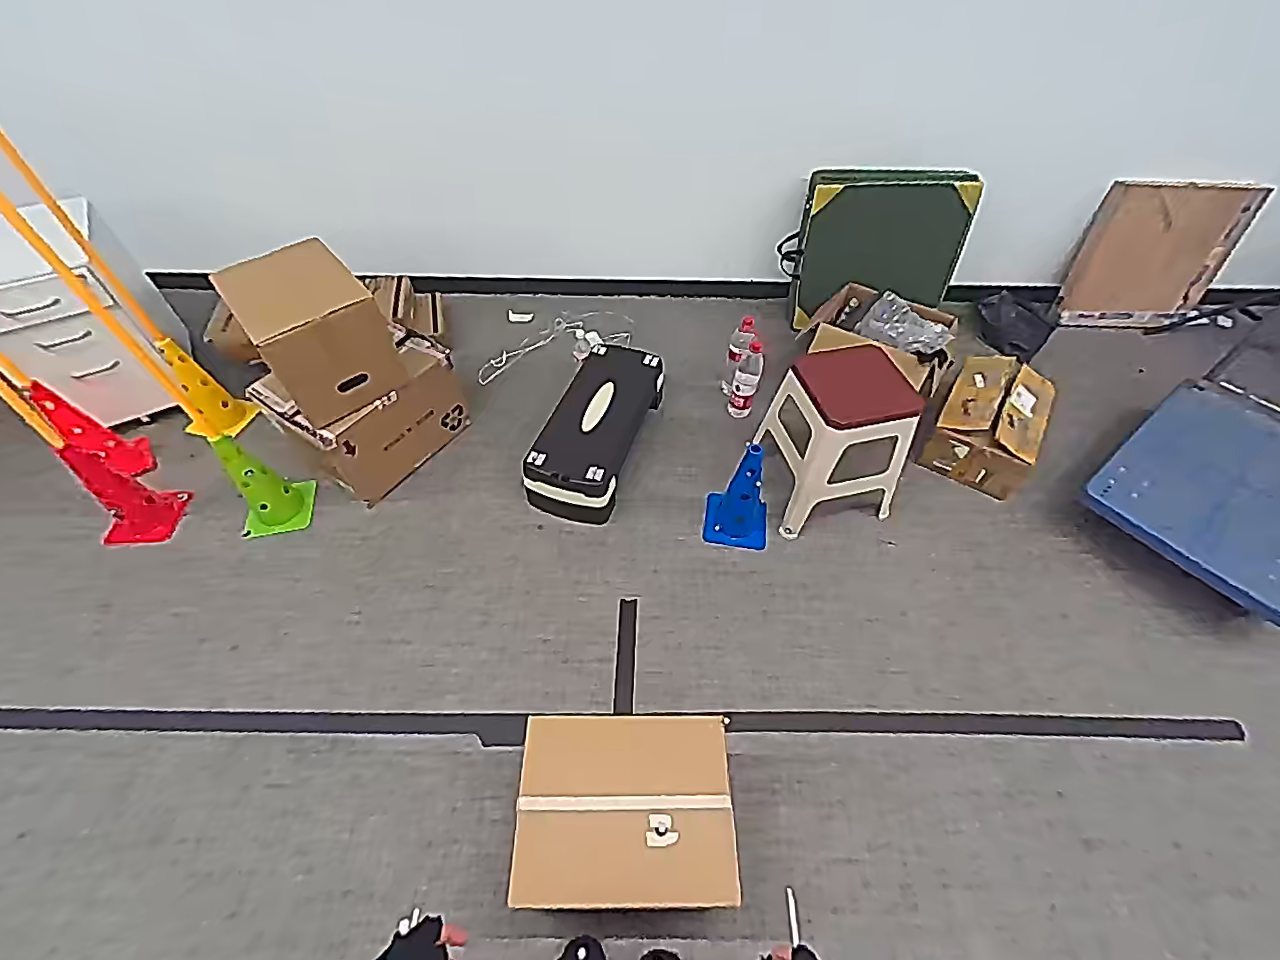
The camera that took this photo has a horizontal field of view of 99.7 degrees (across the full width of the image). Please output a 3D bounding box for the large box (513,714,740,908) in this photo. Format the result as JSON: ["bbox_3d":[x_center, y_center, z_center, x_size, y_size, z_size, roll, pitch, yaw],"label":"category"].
[{"bbox_3d":[-0.032,0.700,1.138,0.408,0.320,0.320,1,52,-2],"label":"large box"}]
